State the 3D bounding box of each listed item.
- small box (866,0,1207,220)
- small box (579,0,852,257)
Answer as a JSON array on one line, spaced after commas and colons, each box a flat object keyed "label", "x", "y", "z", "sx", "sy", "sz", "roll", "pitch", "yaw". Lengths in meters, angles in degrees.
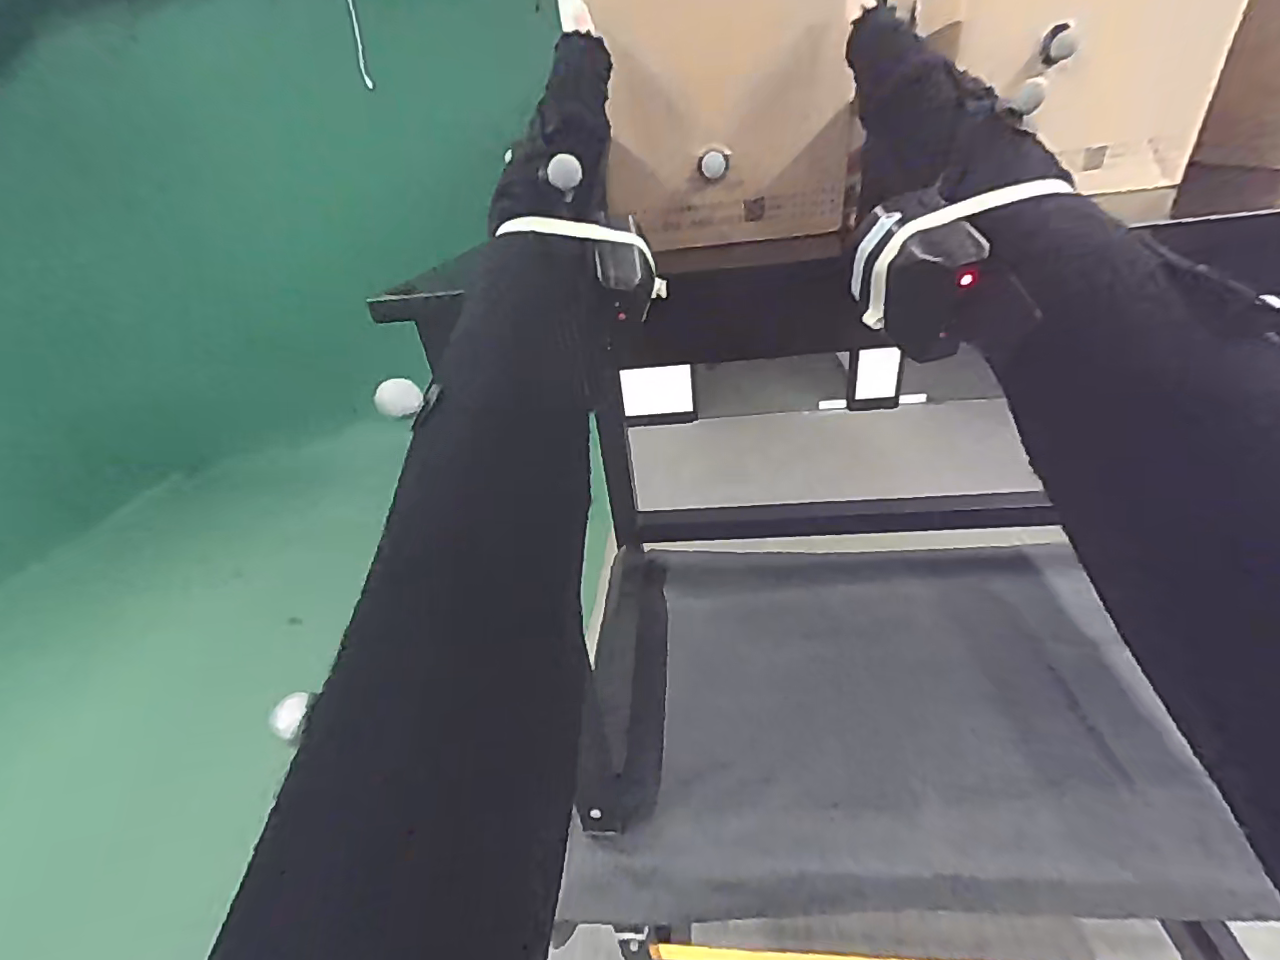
[{"label": "small box", "x": 0.290, "y": -0.311, "z": 0.429, "sx": 0.168, "sy": 0.176, "sz": 0.179, "roll": -3, "pitch": 31, "yaw": 8}, {"label": "small box", "x": 0.054, "y": -0.280, "z": 0.424, "sx": 0.168, "sy": 0.176, "sz": 0.179, "roll": -4, "pitch": 32, "yaw": 6}]
